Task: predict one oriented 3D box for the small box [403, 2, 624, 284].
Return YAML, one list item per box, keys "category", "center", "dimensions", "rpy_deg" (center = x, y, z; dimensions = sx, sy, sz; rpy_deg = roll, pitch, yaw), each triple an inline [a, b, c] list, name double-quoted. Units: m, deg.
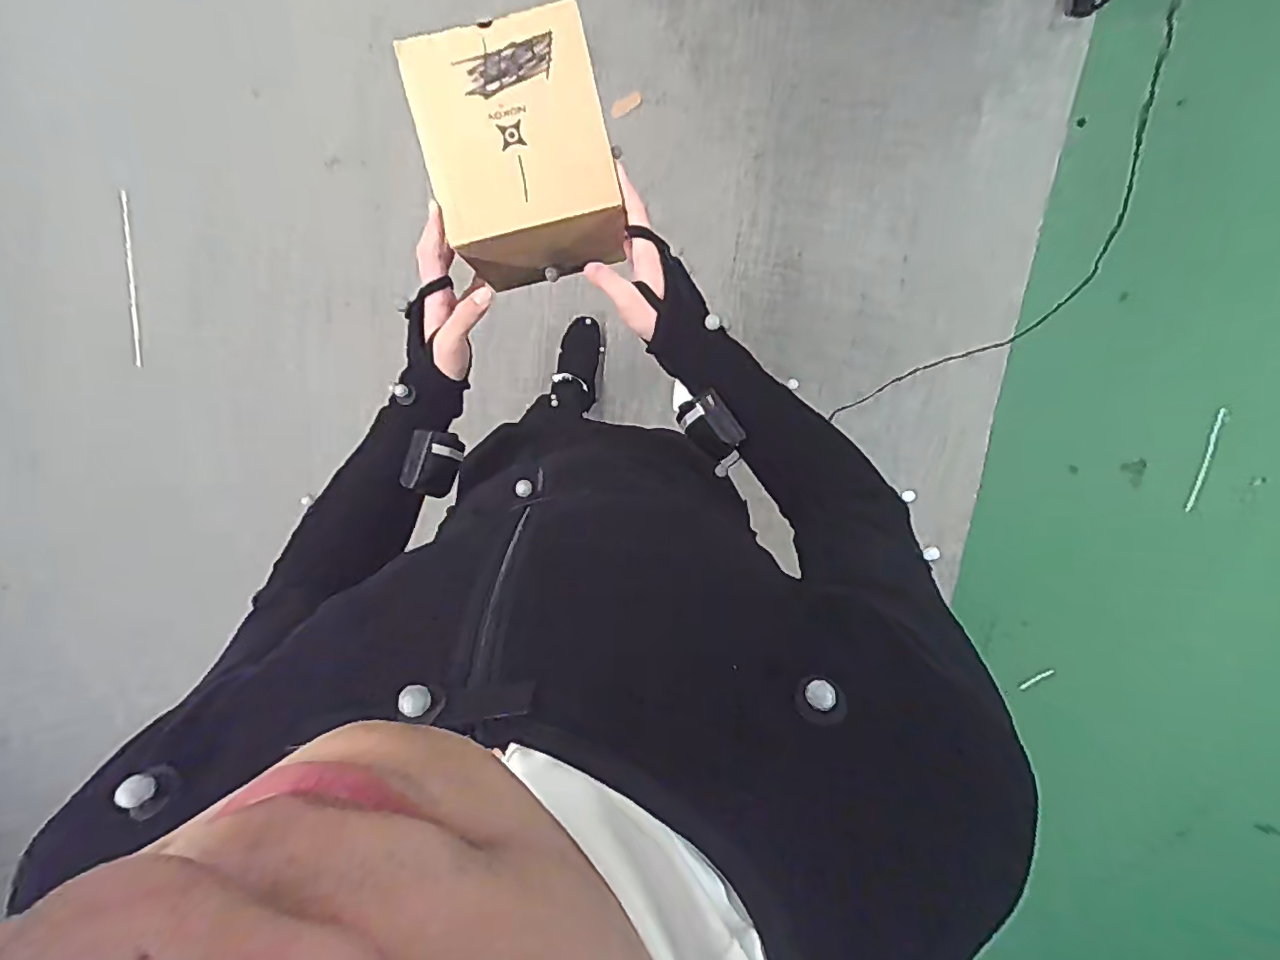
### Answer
- category: "small box"
  center: [-0.114, -0.327, 0.562]
  dimensions: [0.168, 0.176, 0.179]
  rpy_deg: [-13, 96, 1]
